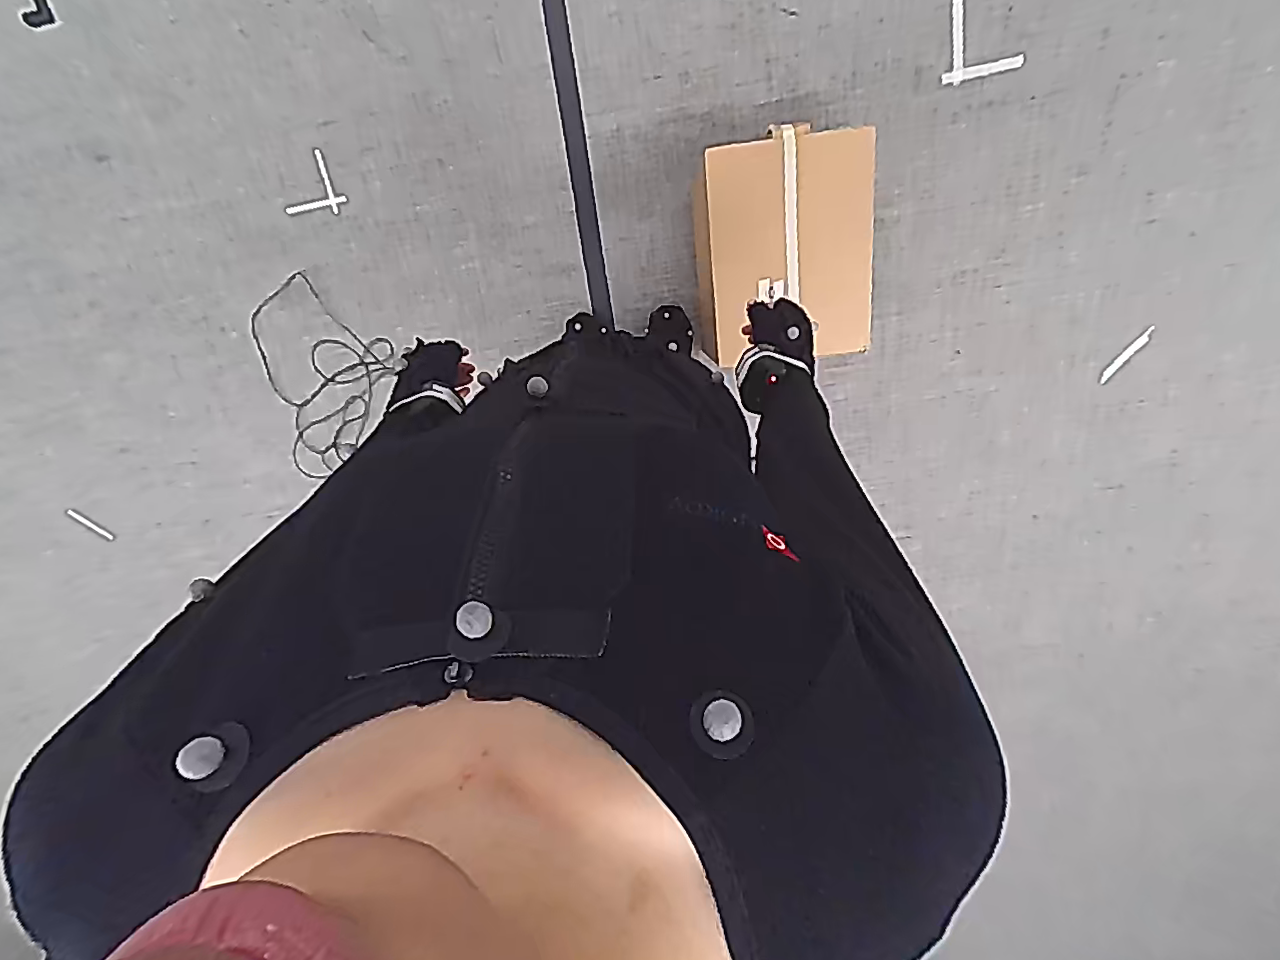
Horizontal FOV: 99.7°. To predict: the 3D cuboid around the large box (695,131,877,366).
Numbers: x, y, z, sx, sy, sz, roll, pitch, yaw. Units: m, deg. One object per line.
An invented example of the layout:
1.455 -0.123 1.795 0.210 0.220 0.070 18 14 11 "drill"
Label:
0.306 -0.494 1.206 0.320 0.320 0.408 -6 110 3 "large box"
